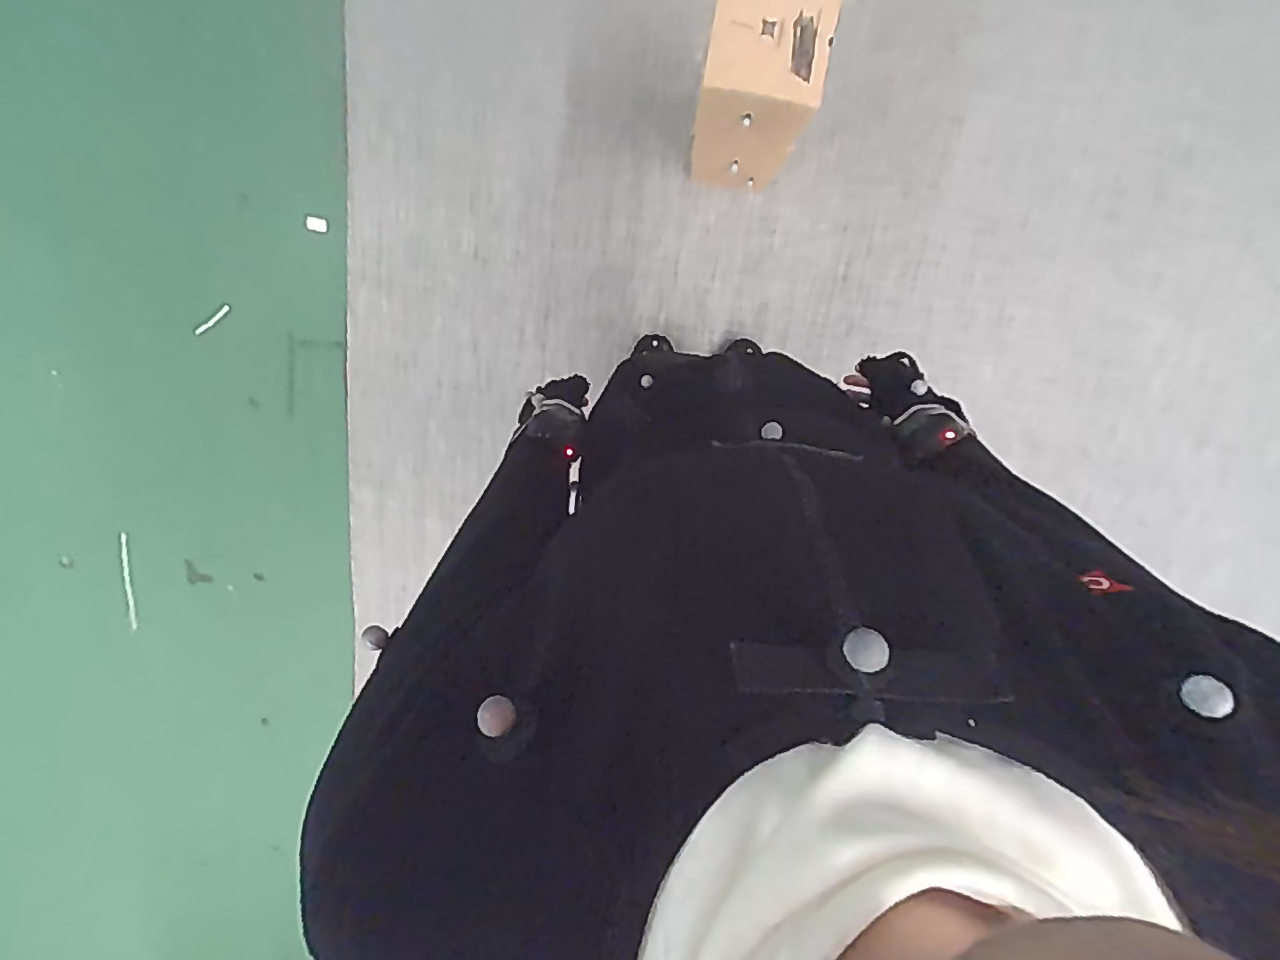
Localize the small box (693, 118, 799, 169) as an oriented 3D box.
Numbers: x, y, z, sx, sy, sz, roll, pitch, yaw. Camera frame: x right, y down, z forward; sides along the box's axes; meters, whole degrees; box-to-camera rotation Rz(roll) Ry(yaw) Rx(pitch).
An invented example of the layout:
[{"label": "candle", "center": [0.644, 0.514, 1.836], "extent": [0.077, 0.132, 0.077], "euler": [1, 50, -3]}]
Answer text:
[{"label": "small box", "center": [0.205, -0.697, 0.997], "extent": [0.179, 0.176, 0.168], "euler": [12, 106, -2]}]

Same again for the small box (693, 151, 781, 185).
[{"label": "small box", "center": [0.213, -0.747, 1.153], "extent": [0.179, 0.176, 0.168], "euler": [9, 105, 1]}]

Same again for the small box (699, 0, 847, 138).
[{"label": "small box", "center": [0.195, -0.655, 0.838], "extent": [0.179, 0.176, 0.168], "euler": [8, 106, -1]}]
